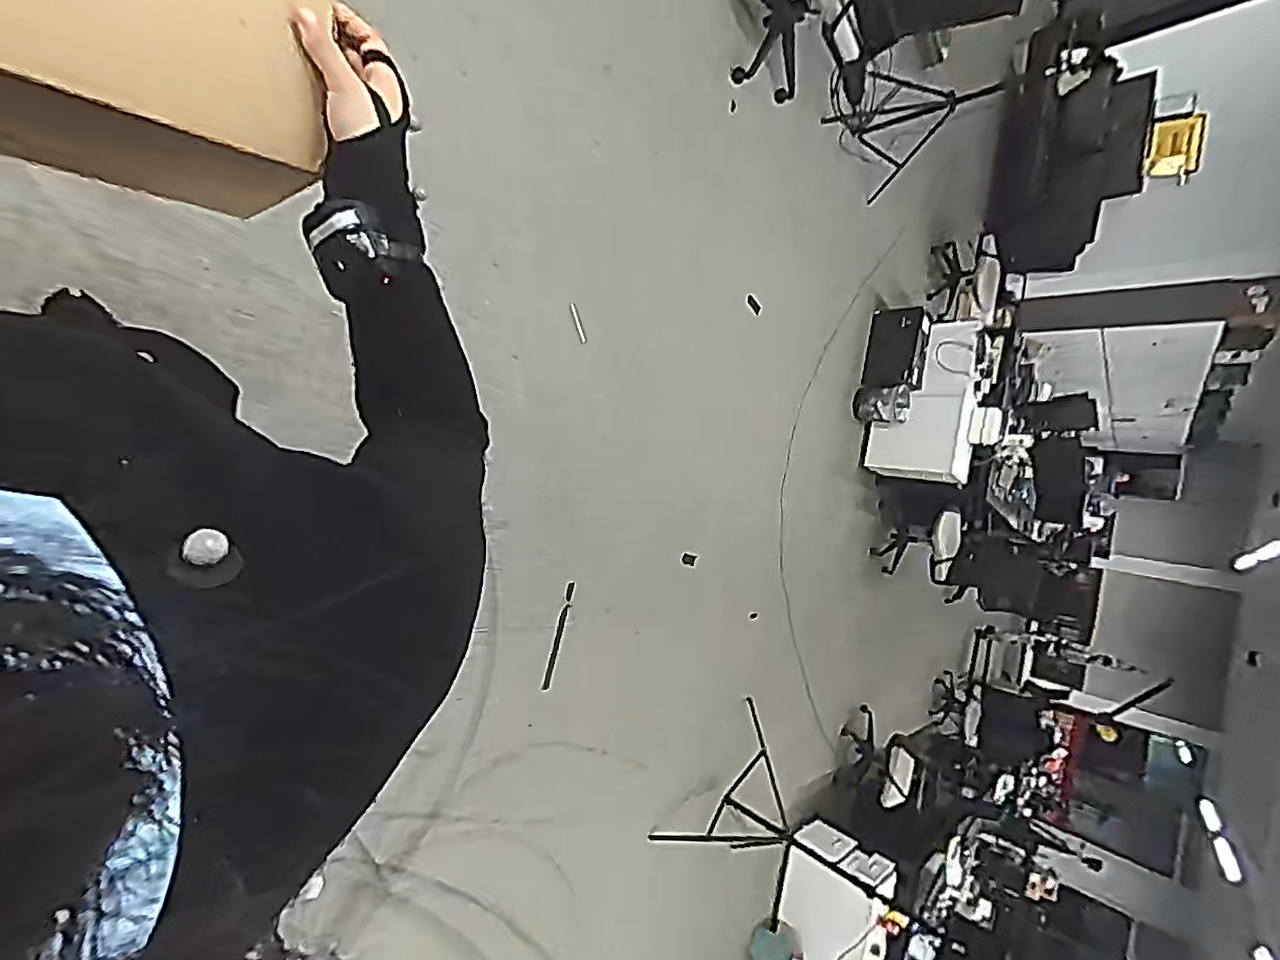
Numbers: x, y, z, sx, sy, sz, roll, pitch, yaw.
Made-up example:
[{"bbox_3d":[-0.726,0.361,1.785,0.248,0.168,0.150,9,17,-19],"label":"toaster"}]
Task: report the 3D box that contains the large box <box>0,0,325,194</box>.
[{"bbox_3d":[-0.480,-0.437,0.374,0.408,0.320,0.320,-3,104,-45],"label":"large box"}]
